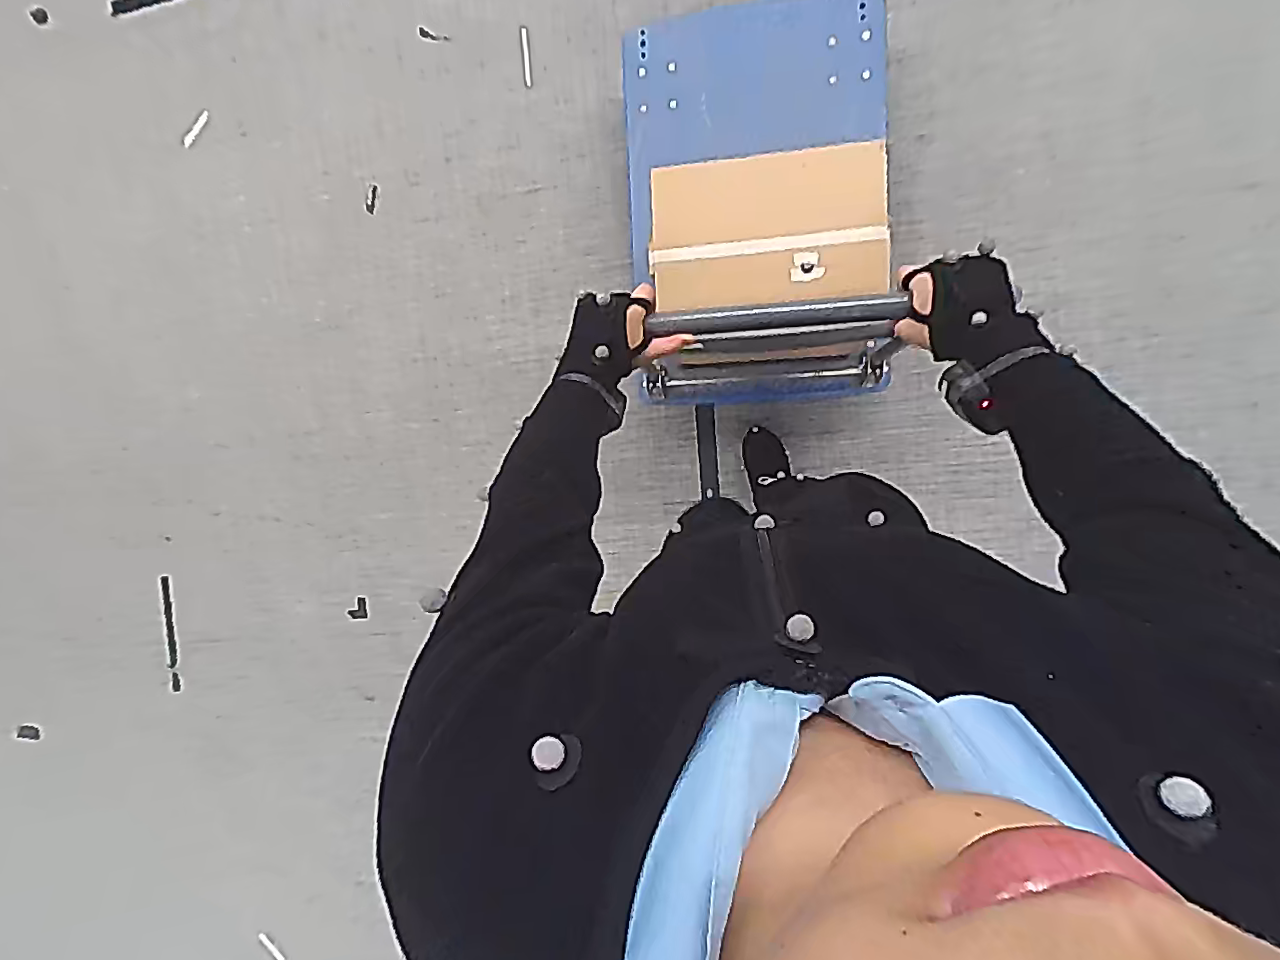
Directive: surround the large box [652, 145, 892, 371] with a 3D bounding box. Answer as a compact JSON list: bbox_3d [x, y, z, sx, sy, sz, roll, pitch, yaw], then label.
[{"bbox_3d":[0.247,-0.408,1.088,0.408,0.320,0.320,-2,94,9],"label":"large box"}]
